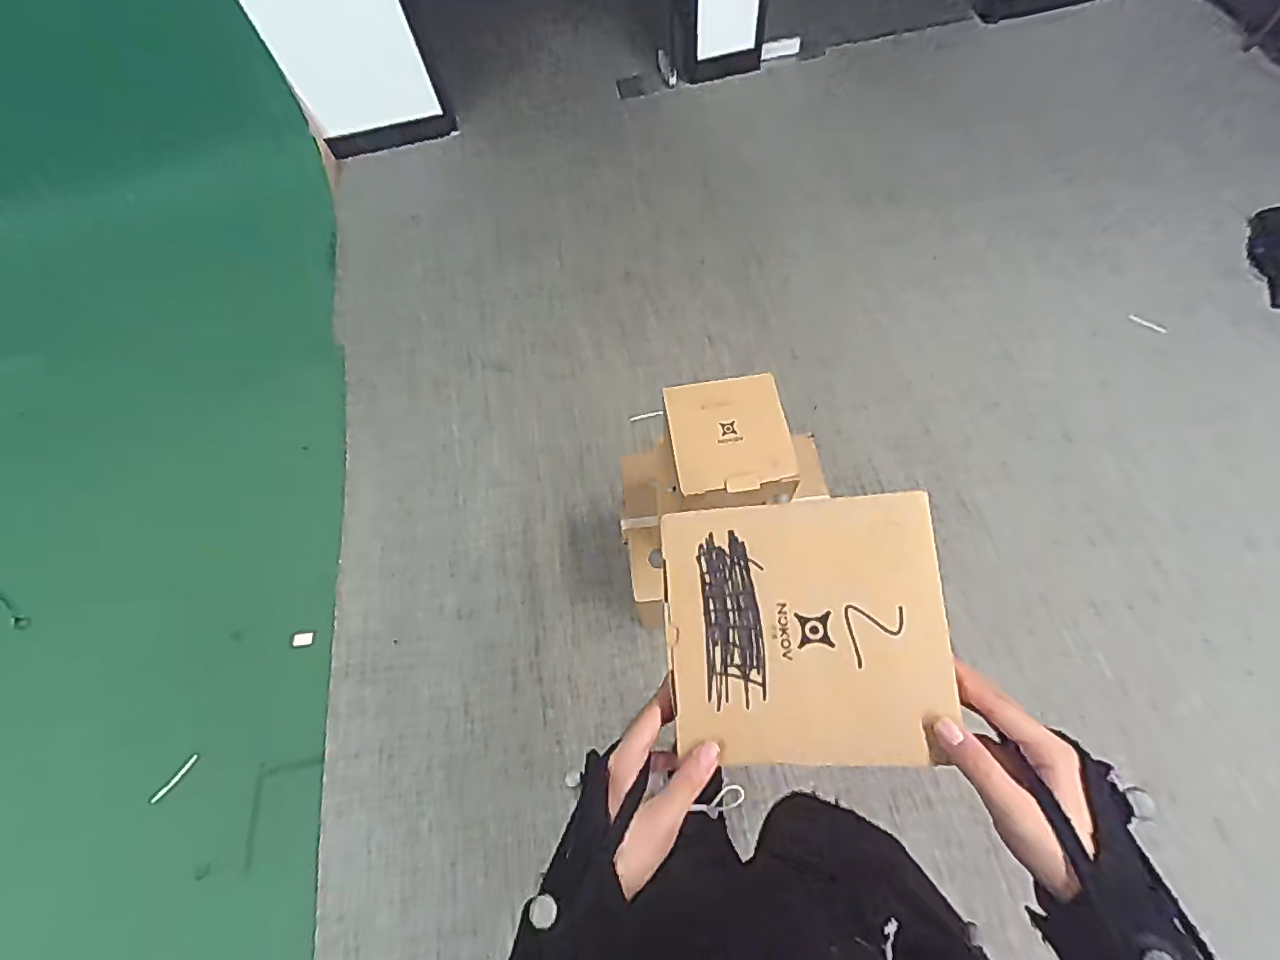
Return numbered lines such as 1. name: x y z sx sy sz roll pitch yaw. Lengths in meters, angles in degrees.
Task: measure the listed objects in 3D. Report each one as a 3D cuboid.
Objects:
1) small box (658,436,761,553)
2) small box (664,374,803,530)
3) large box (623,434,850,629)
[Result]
1. small box: 0.124 0.030 0.975 0.179 0.176 0.168 -1 65 3
2. small box: 0.131 -0.032 0.824 0.168 0.176 0.179 -8 64 -1
3. large box: 0.184 0.127 1.193 0.408 0.320 0.320 -6 66 0
